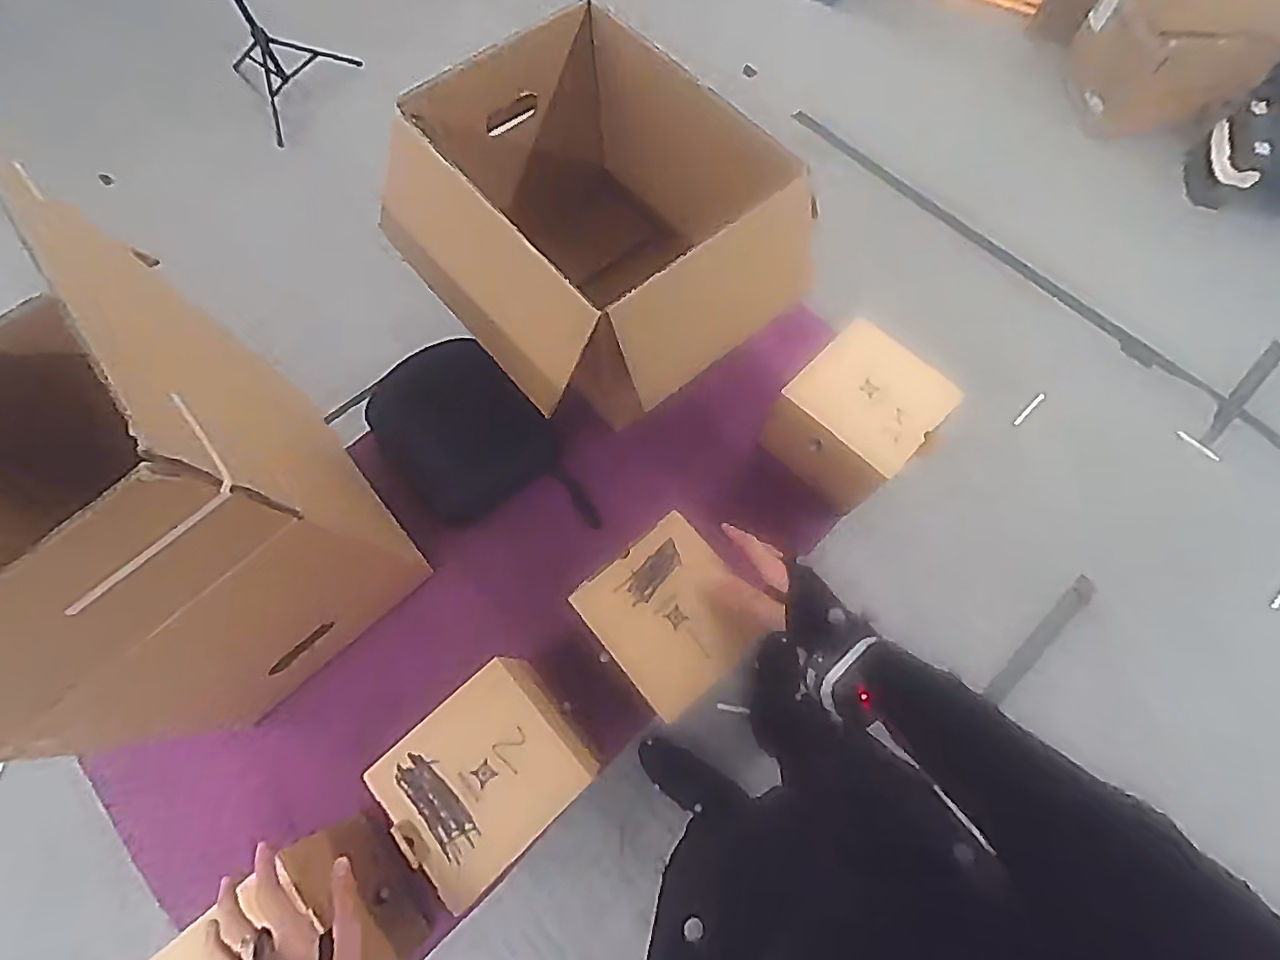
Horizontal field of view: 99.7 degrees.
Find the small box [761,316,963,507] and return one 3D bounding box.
[{"bbox_3d":[0.296,-0.086,0.764,0.179,0.176,0.168,43,78,14],"label":"small box"}]

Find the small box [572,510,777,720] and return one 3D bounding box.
[{"bbox_3d":[0.037,0.171,0.680,0.168,0.176,0.179,-39,76,-12],"label":"small box"}]
